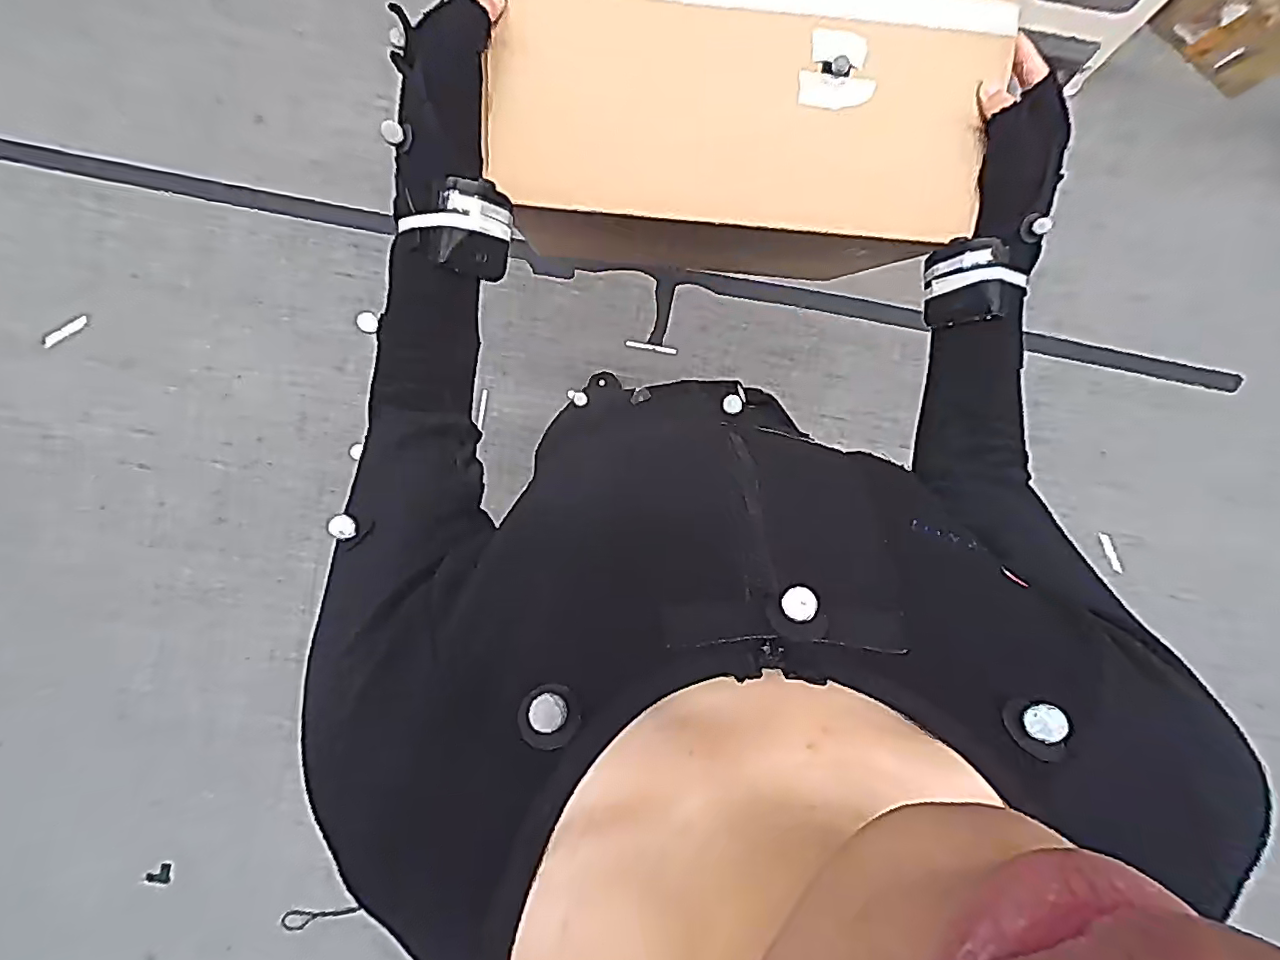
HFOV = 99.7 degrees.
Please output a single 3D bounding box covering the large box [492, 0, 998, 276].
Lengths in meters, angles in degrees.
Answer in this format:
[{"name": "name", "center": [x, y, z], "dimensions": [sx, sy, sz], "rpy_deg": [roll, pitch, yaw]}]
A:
[{"name": "large box", "center": [0.075, -0.404, 0.566], "dimensions": [0.408, 0.320, 0.320], "rpy_deg": [3, 105, -4]}]
